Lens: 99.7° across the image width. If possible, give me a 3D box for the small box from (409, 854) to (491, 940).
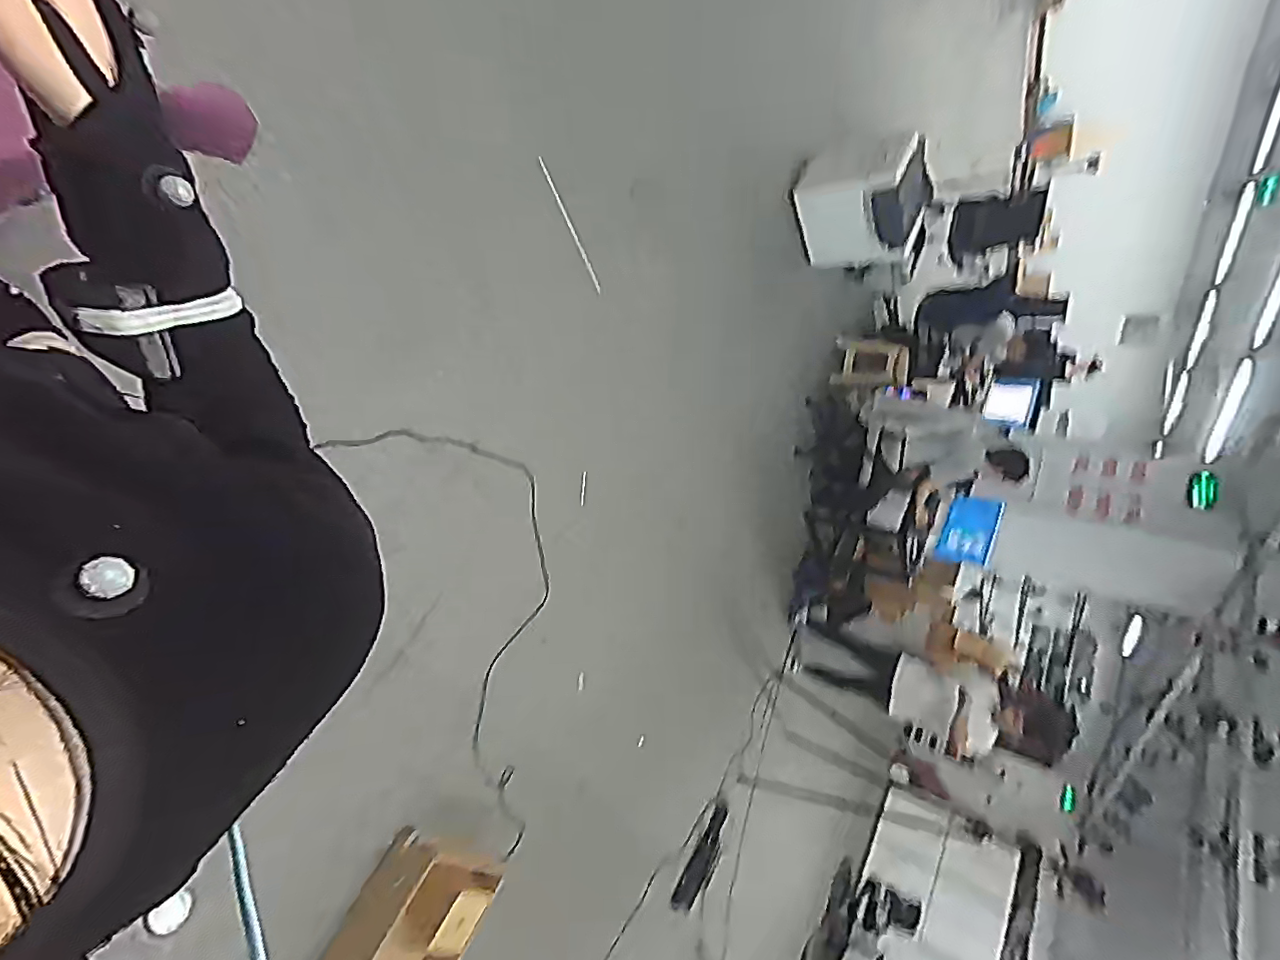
[{"bbox_3d":[-0.658,1.433,1.864,0.179,0.176,0.168,-57,136,-22],"label":"small box"}]
